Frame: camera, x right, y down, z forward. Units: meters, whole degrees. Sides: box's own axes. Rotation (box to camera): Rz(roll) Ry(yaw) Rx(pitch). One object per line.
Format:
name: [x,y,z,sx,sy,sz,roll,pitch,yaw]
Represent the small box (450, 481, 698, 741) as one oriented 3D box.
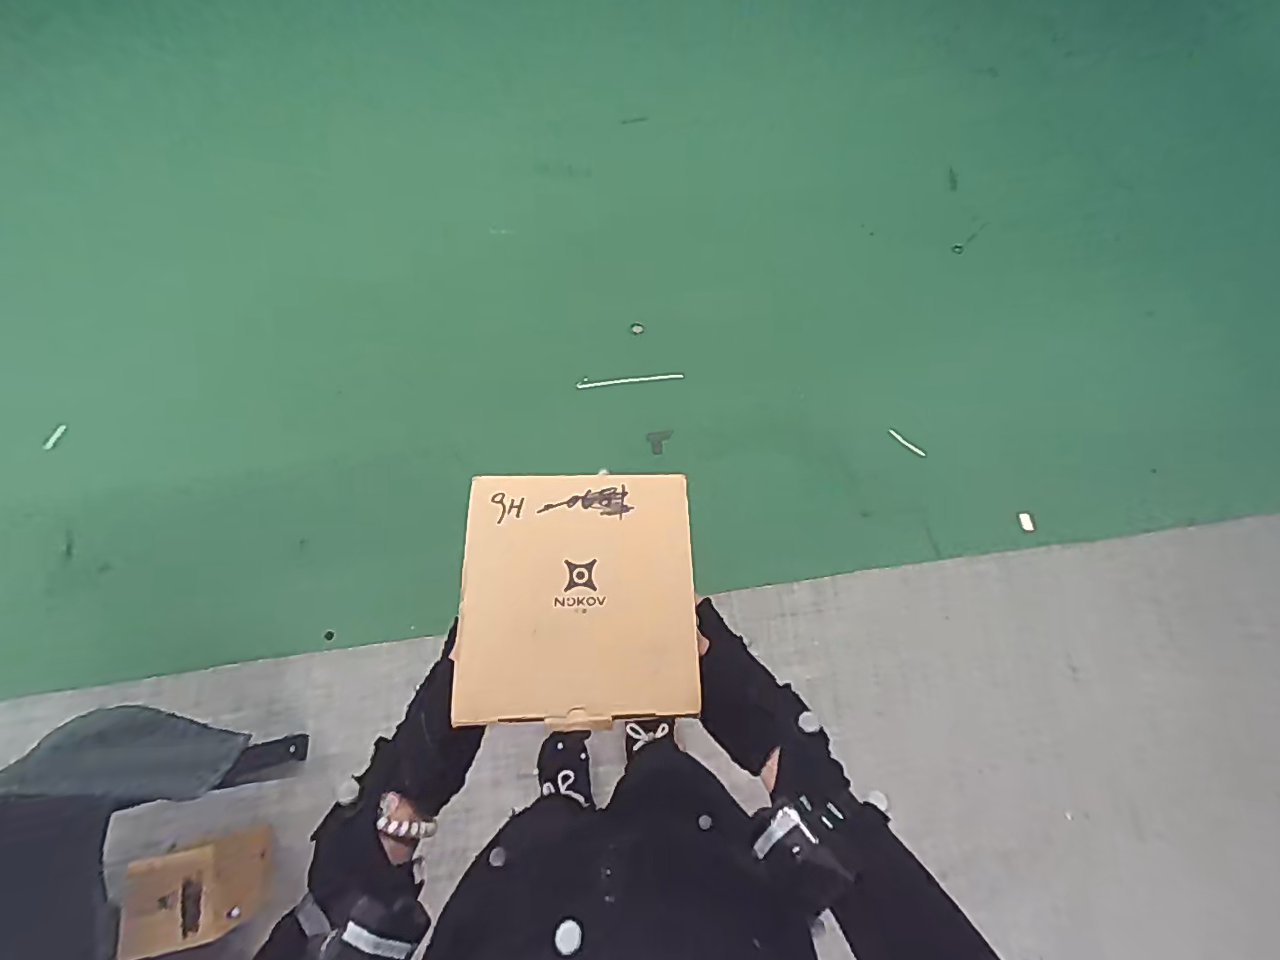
small box: [-0.047,0.110,0.453,0.168,0.176,0.179,-1,70,-4]
